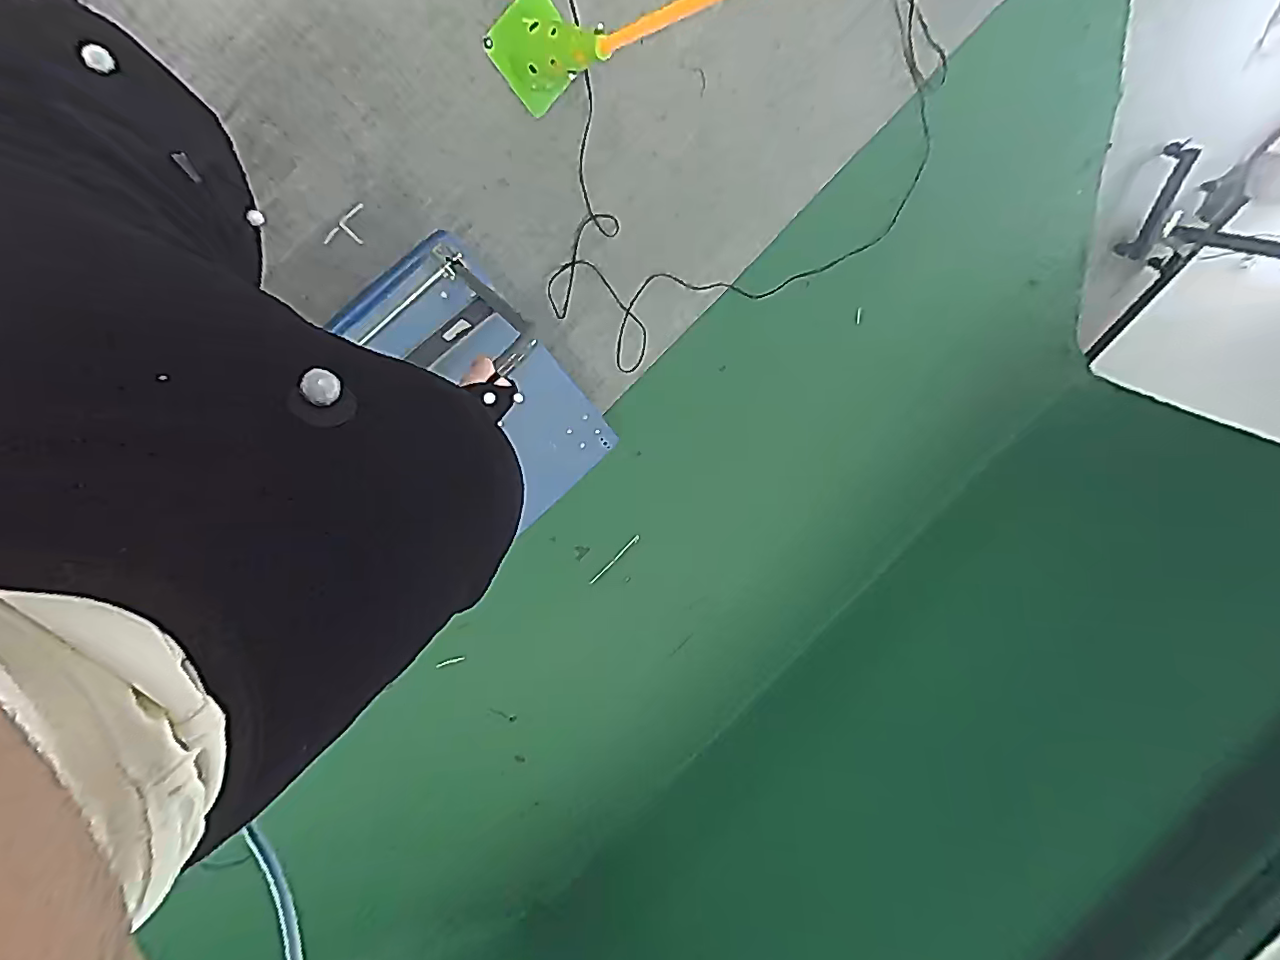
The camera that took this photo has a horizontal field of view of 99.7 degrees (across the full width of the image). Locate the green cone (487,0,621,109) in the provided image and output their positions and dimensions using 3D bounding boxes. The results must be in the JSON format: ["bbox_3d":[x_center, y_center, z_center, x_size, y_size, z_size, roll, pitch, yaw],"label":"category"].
[{"bbox_3d":[-0.150,-0.959,1.182,0.202,0.368,0.200,-49,137,3],"label":"green cone"}]
